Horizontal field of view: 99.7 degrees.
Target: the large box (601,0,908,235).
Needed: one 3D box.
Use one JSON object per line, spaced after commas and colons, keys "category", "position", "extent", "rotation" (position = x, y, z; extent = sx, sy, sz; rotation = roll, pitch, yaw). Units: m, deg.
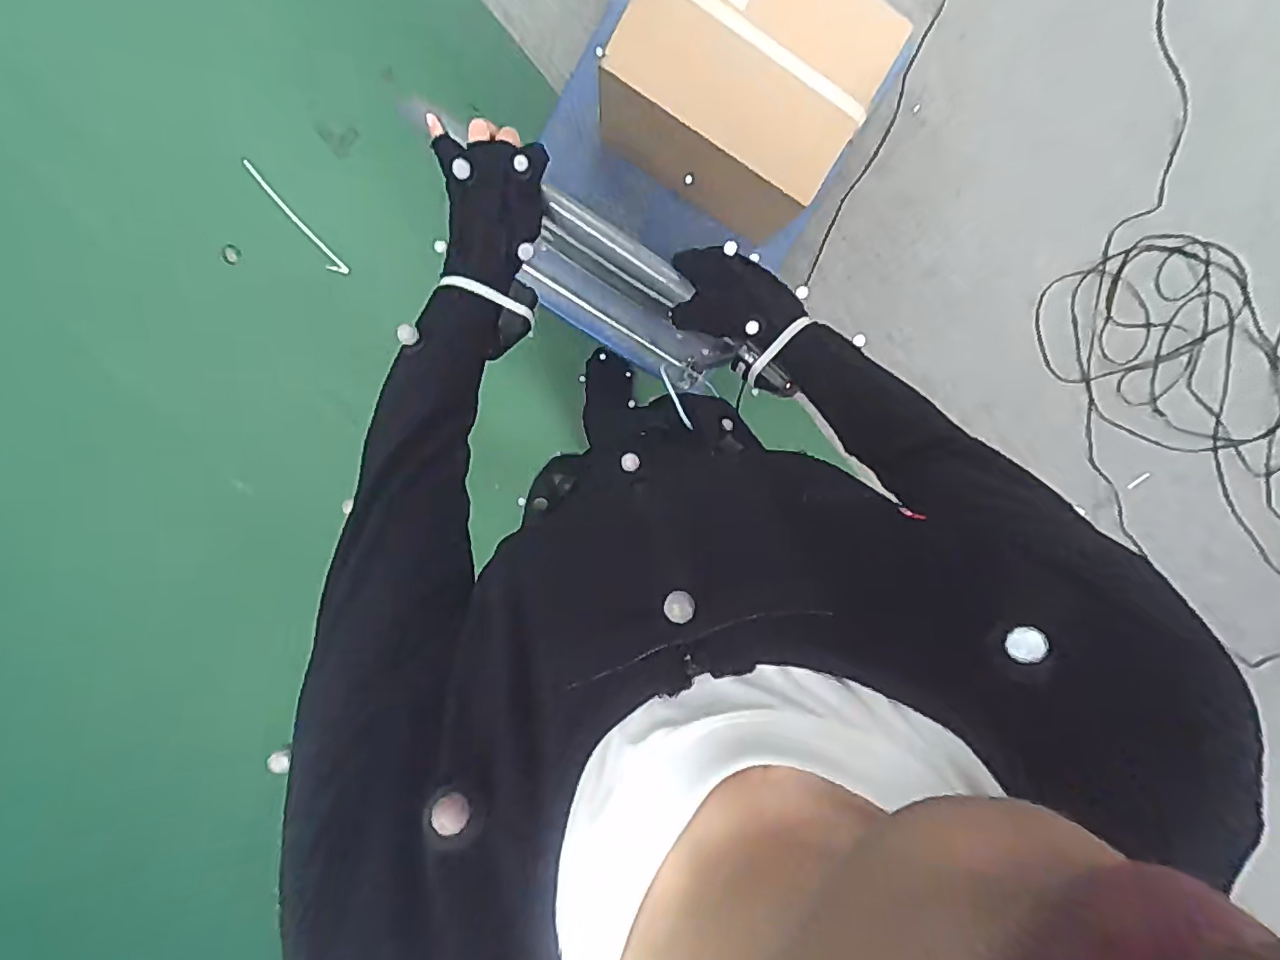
{"category": "large box", "position": [0.178, -0.724, 0.999], "extent": [0.408, 0.320, 0.320], "rotation": [29, 99, -8]}
